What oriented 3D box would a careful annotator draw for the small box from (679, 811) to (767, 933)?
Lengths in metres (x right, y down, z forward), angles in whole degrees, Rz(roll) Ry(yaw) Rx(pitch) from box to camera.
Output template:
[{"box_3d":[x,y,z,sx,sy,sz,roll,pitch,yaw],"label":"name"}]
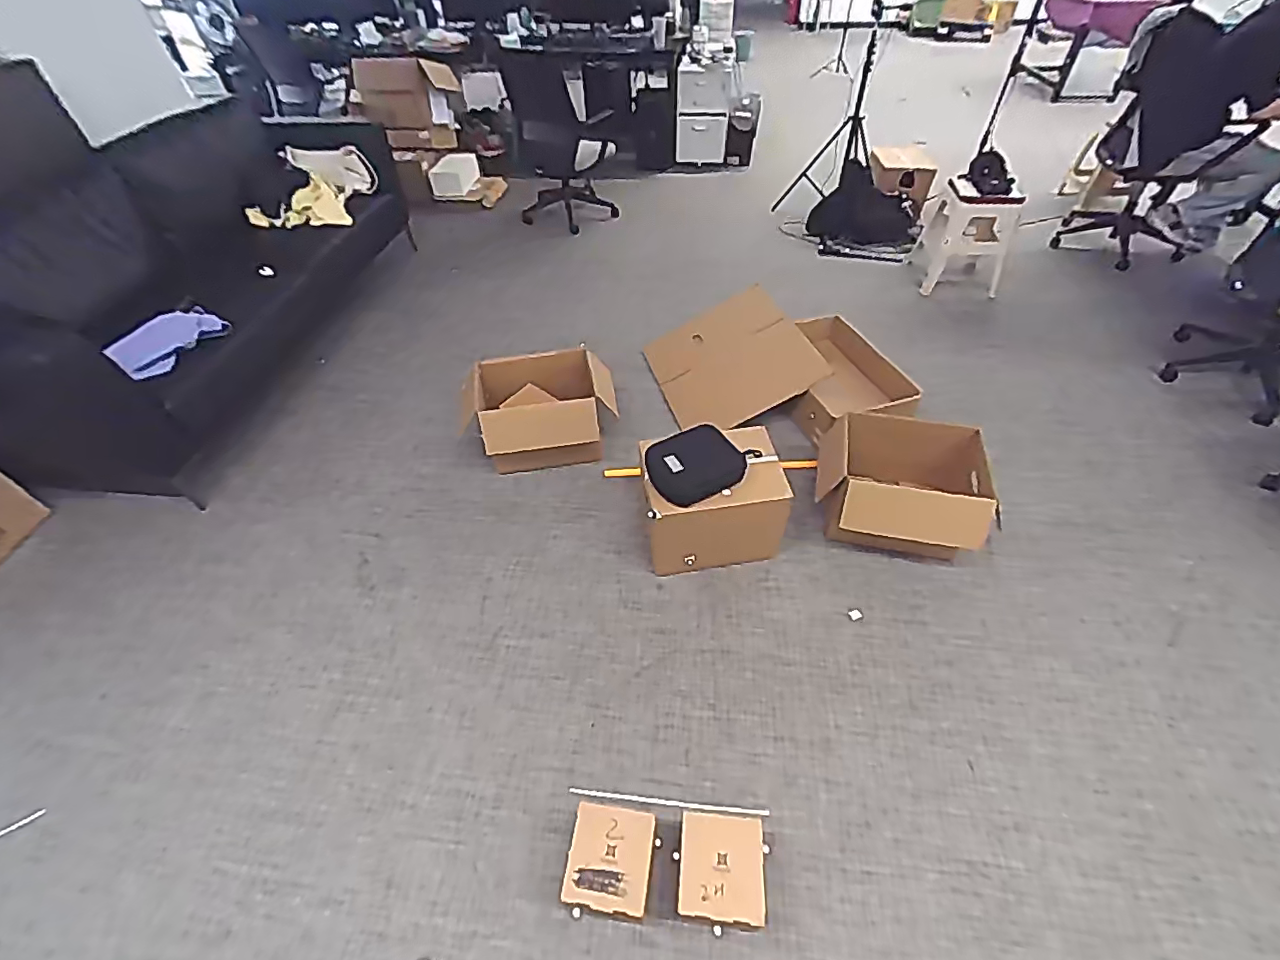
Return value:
[{"box_3d":[0.169,0.818,1.127,0.168,0.176,0.179,3,47,7],"label":"small box"}]
